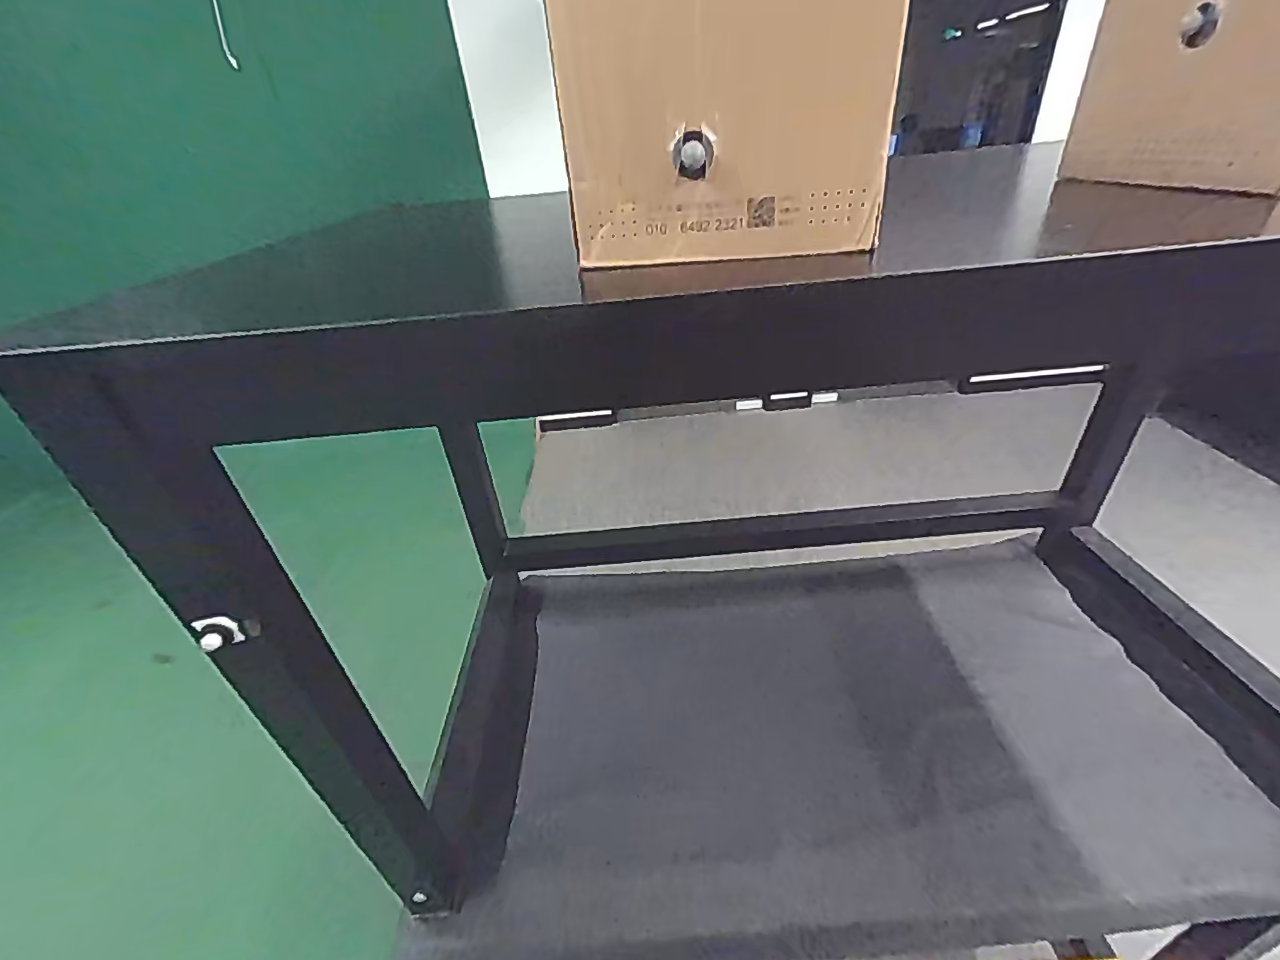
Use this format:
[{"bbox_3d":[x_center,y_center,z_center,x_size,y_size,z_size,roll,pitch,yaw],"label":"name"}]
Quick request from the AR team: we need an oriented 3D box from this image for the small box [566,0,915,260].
[{"bbox_3d":[0.054,-0.240,0.334,0.168,0.176,0.179,0,33,8],"label":"small box"}]
